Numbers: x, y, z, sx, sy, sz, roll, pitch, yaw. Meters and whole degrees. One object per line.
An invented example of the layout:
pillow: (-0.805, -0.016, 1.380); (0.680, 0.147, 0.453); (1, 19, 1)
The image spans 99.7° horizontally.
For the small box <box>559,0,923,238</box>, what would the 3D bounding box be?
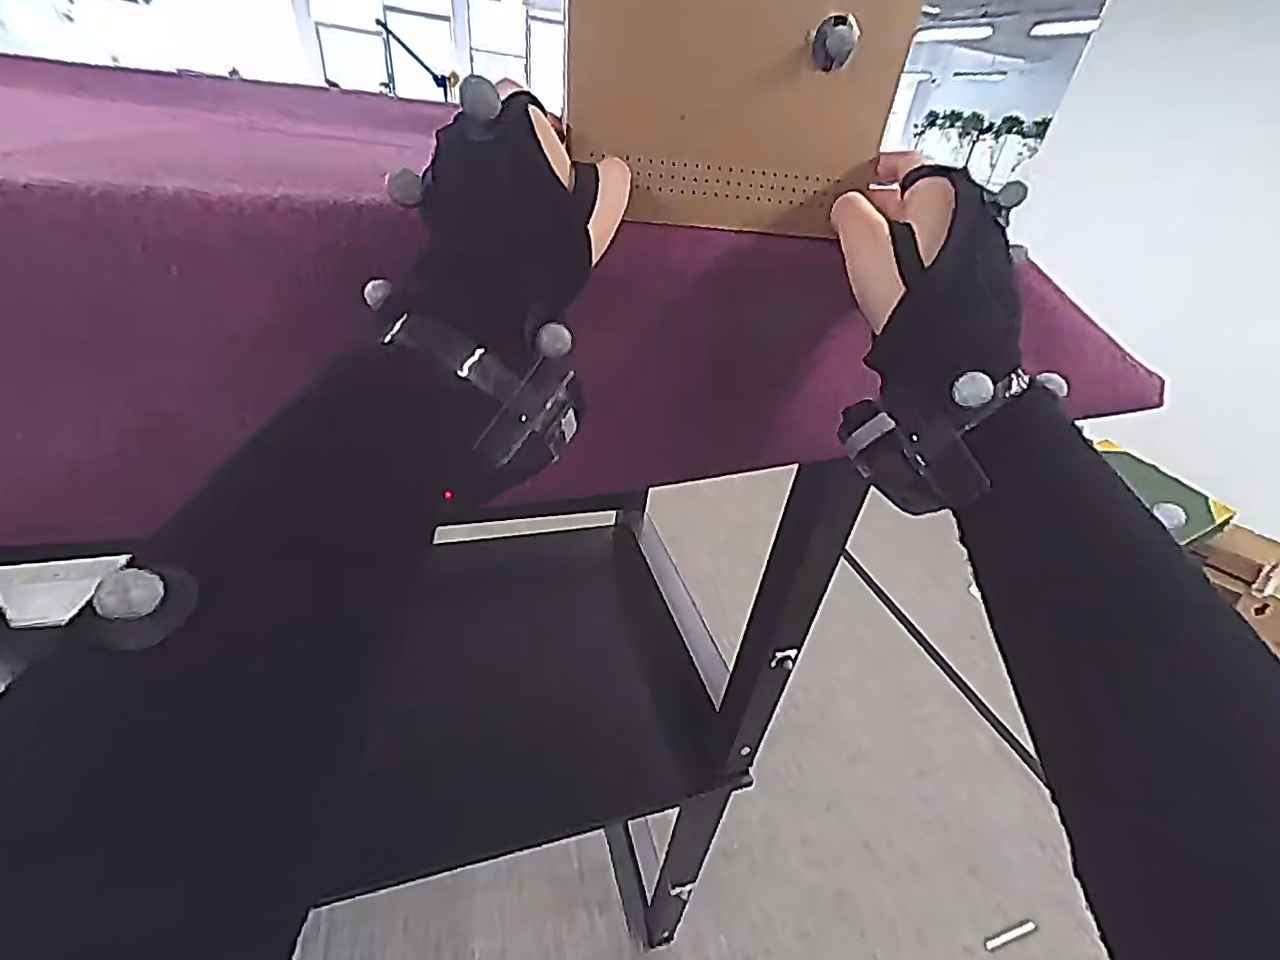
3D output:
small box: (0.042, -0.252, 0.325); (0.179, 0.176, 0.168); (0, 34, -9)
